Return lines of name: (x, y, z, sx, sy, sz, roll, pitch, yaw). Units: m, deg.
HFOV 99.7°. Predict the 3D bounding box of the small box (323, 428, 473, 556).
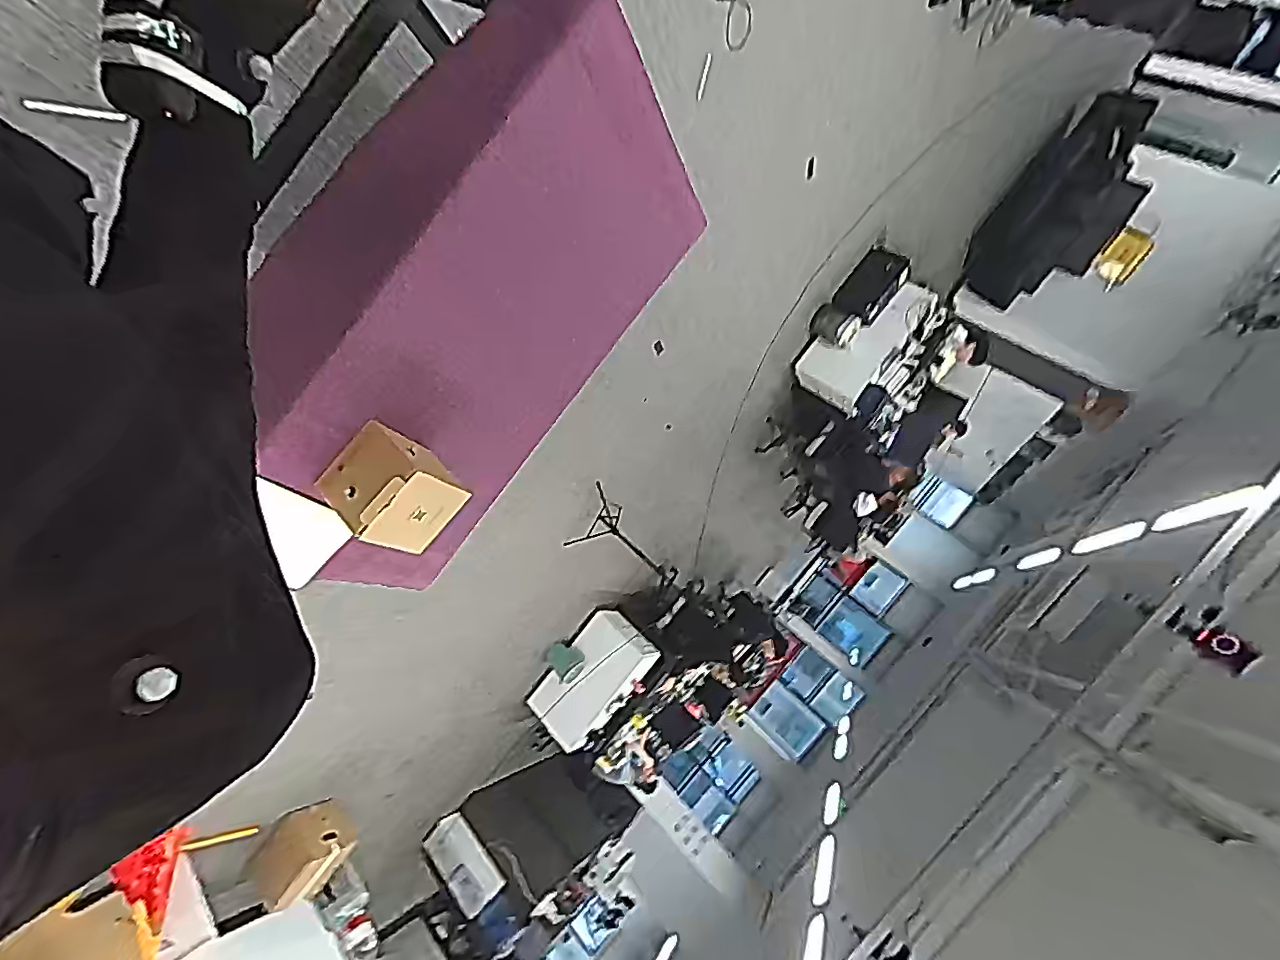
small box: (-0.476, 0.021, 1.065, 0.168, 0.176, 0.179, -49, 155, -2)
